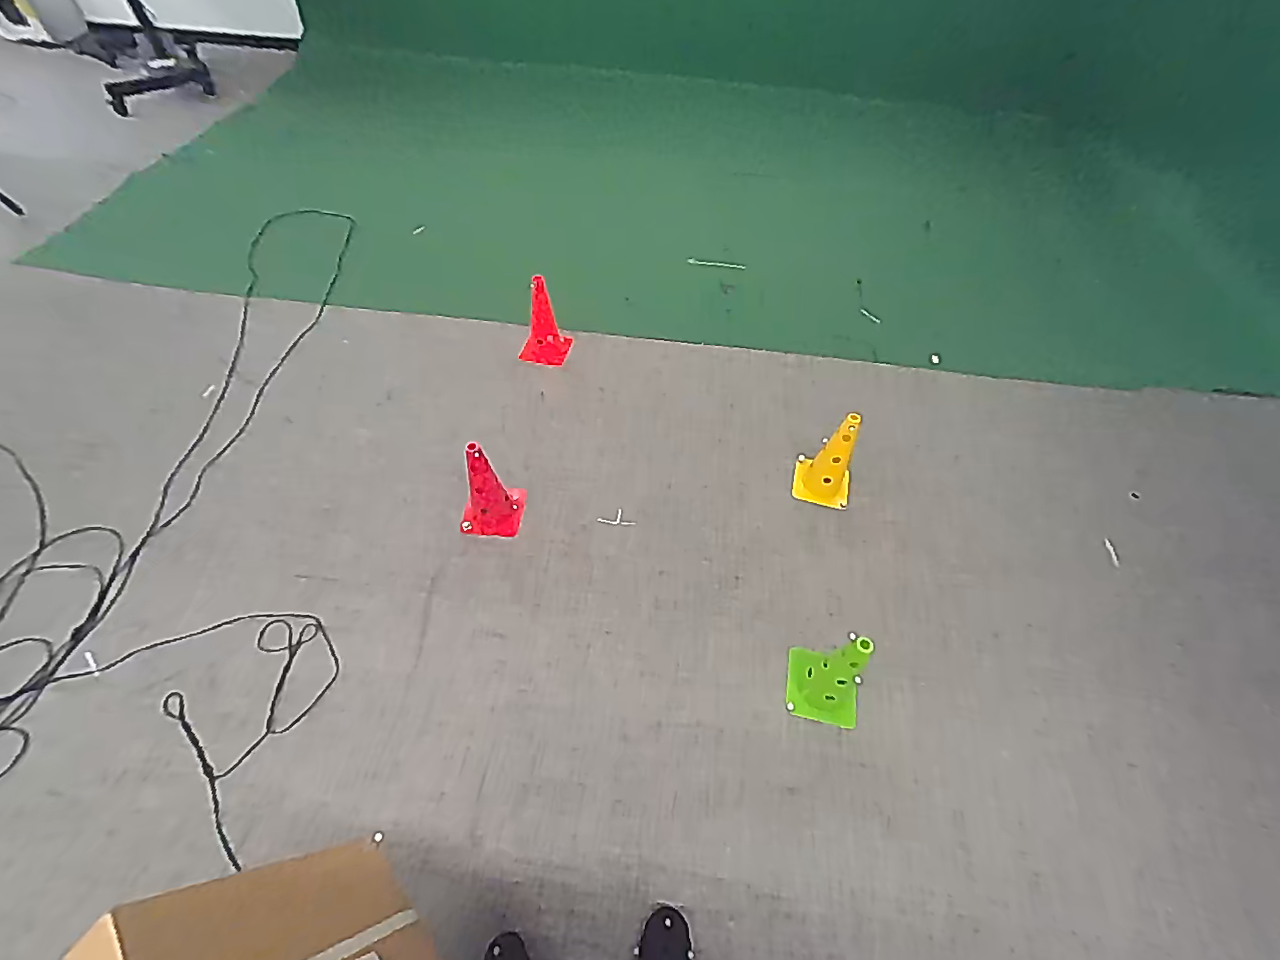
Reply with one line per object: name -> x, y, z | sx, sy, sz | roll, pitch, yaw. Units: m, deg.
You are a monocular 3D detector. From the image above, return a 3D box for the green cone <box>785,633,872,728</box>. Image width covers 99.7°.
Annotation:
green cone -> 0.536, 0.501, 1.446 | 0.200, 0.368, 0.202 | 12, 53, 5

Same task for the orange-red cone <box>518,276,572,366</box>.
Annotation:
orange-red cone -> -0.414, -0.683, 2.261 | 0.199, 0.360, 0.198 | 12, 53, 8

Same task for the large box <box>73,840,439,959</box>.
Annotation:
large box -> -0.526, 0.753, 0.690 | 0.320, 0.408, 0.320 | 37, 82, 27
